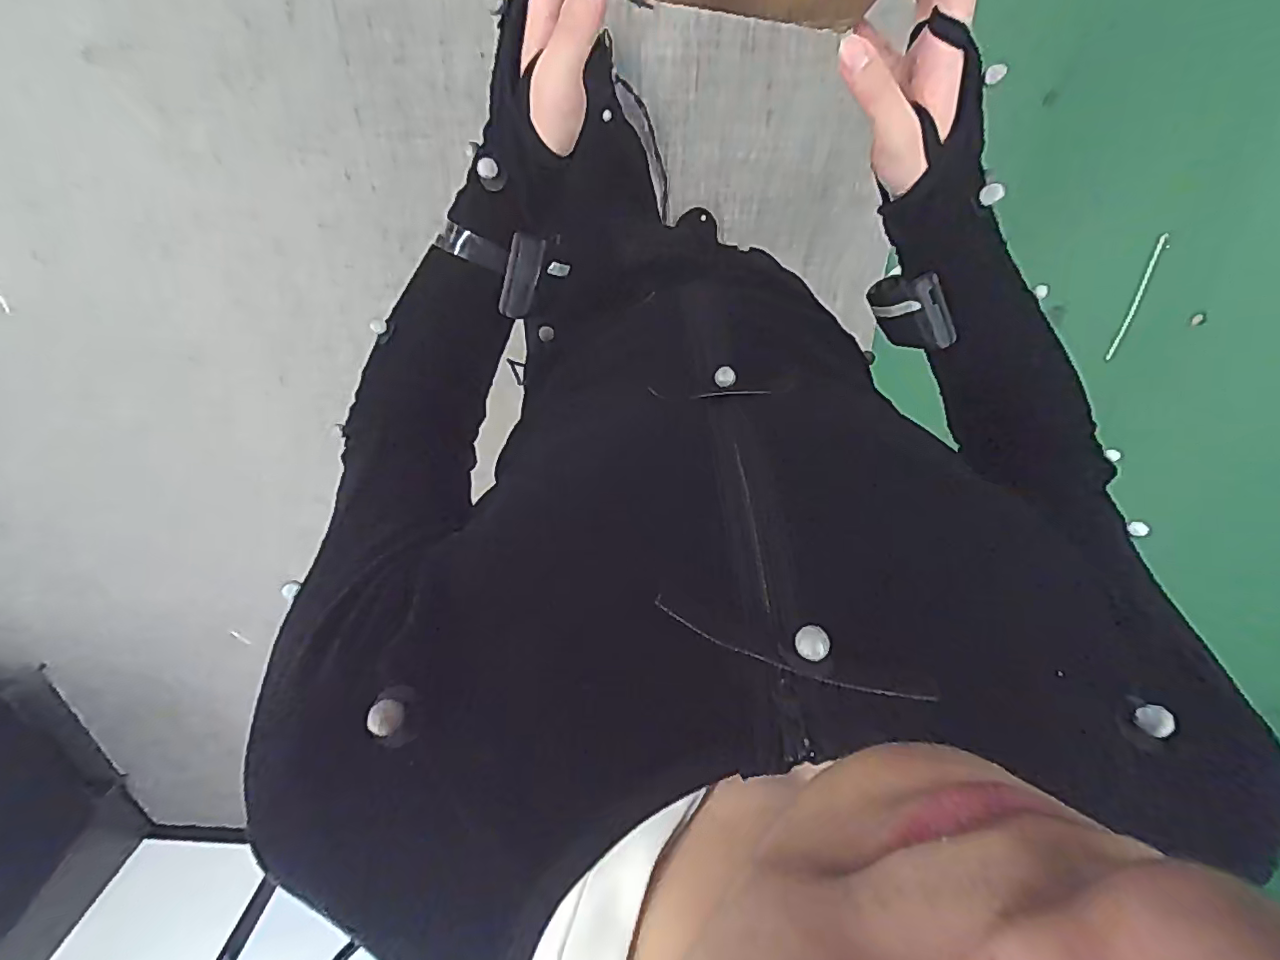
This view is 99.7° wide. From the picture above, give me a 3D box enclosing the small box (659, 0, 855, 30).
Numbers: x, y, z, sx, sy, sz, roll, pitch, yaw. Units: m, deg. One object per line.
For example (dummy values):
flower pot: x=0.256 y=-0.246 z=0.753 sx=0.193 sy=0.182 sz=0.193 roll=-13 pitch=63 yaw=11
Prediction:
small box: x=0.080 y=-0.394 z=0.301 sx=0.179 sy=0.176 sz=0.168 roll=7 pitch=108 yaw=-4
